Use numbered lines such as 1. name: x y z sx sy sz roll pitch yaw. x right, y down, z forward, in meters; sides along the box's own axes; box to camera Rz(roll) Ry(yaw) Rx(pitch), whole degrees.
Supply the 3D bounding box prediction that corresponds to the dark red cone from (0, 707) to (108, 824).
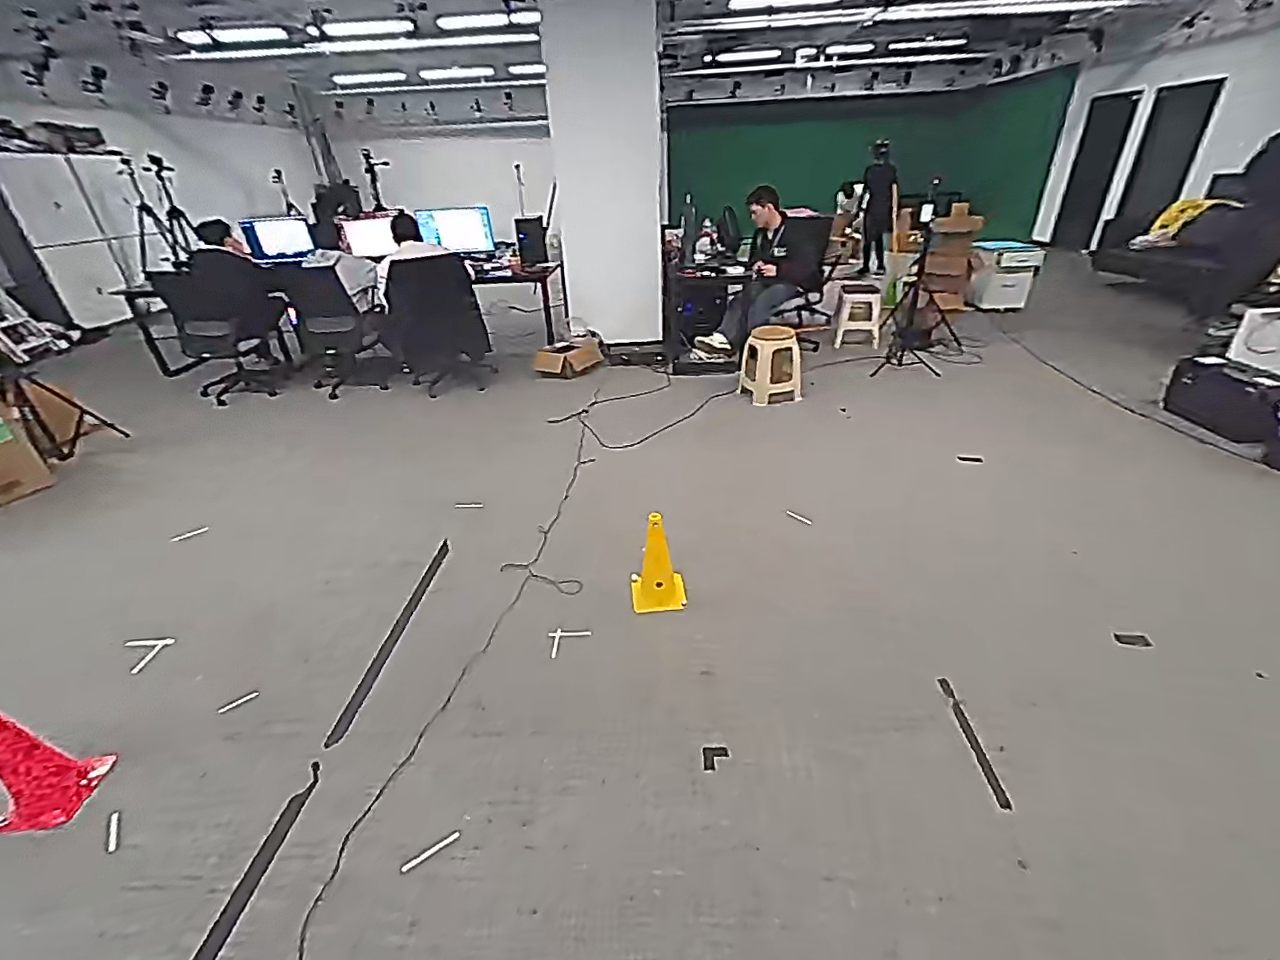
1. dark red cone: -1.622 0.694 1.395 0.201 0.394 0.202 -4 30 -4
